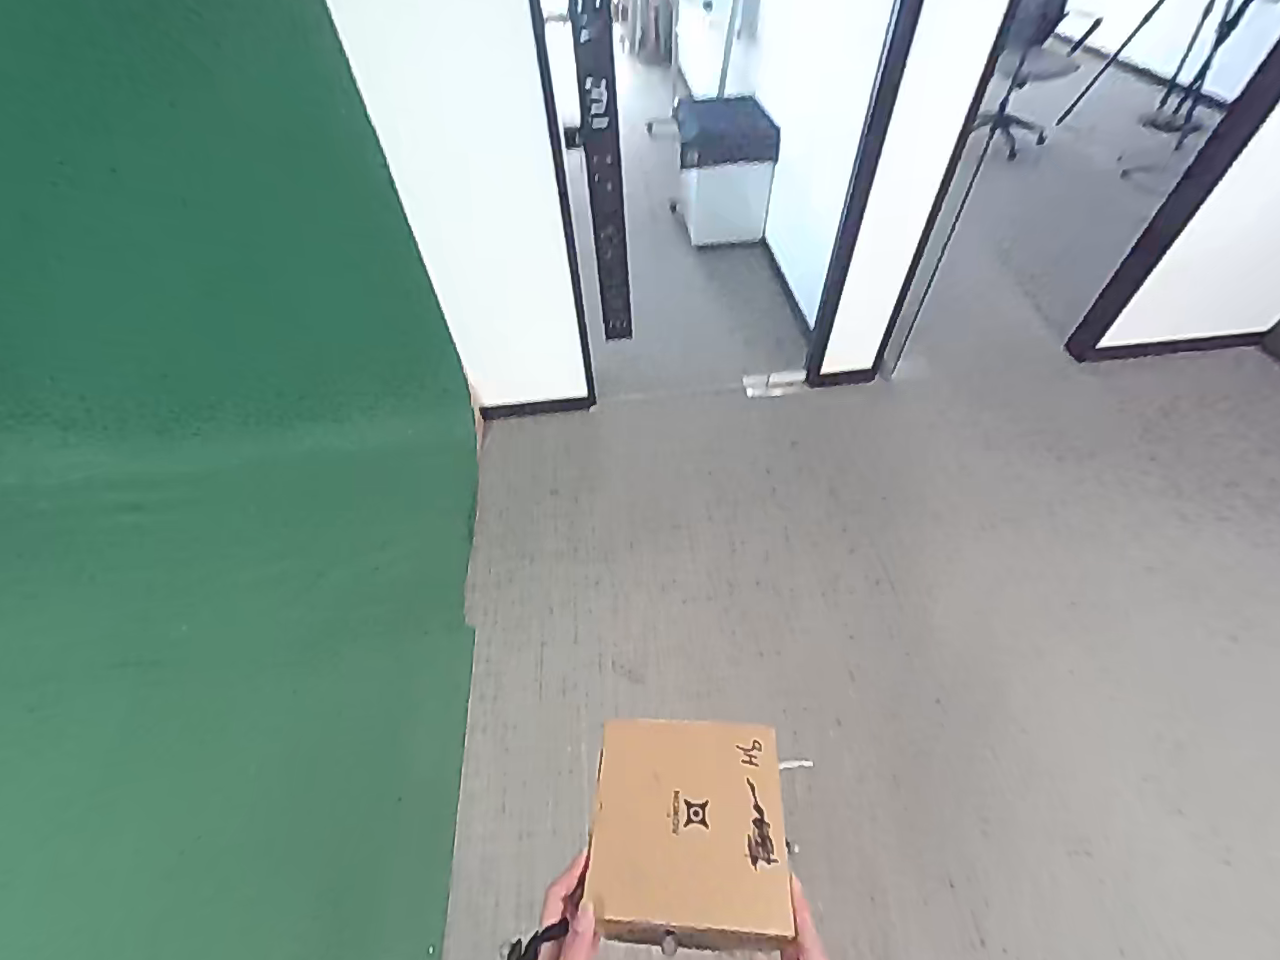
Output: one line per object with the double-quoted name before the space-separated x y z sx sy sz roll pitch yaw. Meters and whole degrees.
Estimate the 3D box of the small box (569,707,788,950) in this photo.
"small box" 0.044 0.343 0.533 0.179 0.176 0.168 0 45 7
